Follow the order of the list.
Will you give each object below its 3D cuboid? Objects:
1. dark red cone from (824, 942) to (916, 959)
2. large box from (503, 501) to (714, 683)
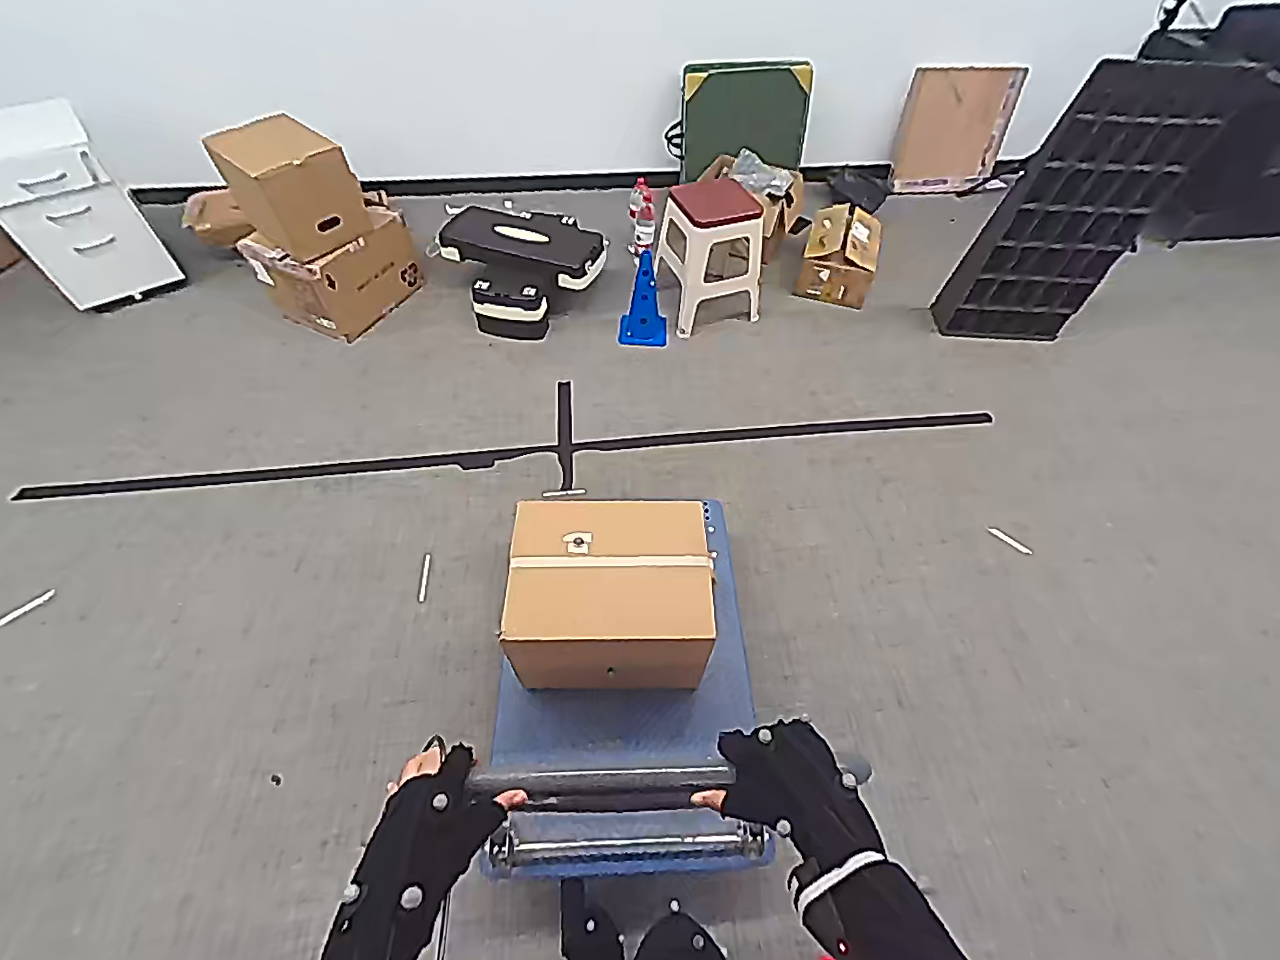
[{"bbox_3d":[0.469,0.919,0.896,0.201,0.394,0.202,-3,53,-6],"label":"dark red cone"},{"bbox_3d":[-0.063,0.259,1.218,0.408,0.320,0.320,0,53,-1],"label":"large box"}]
